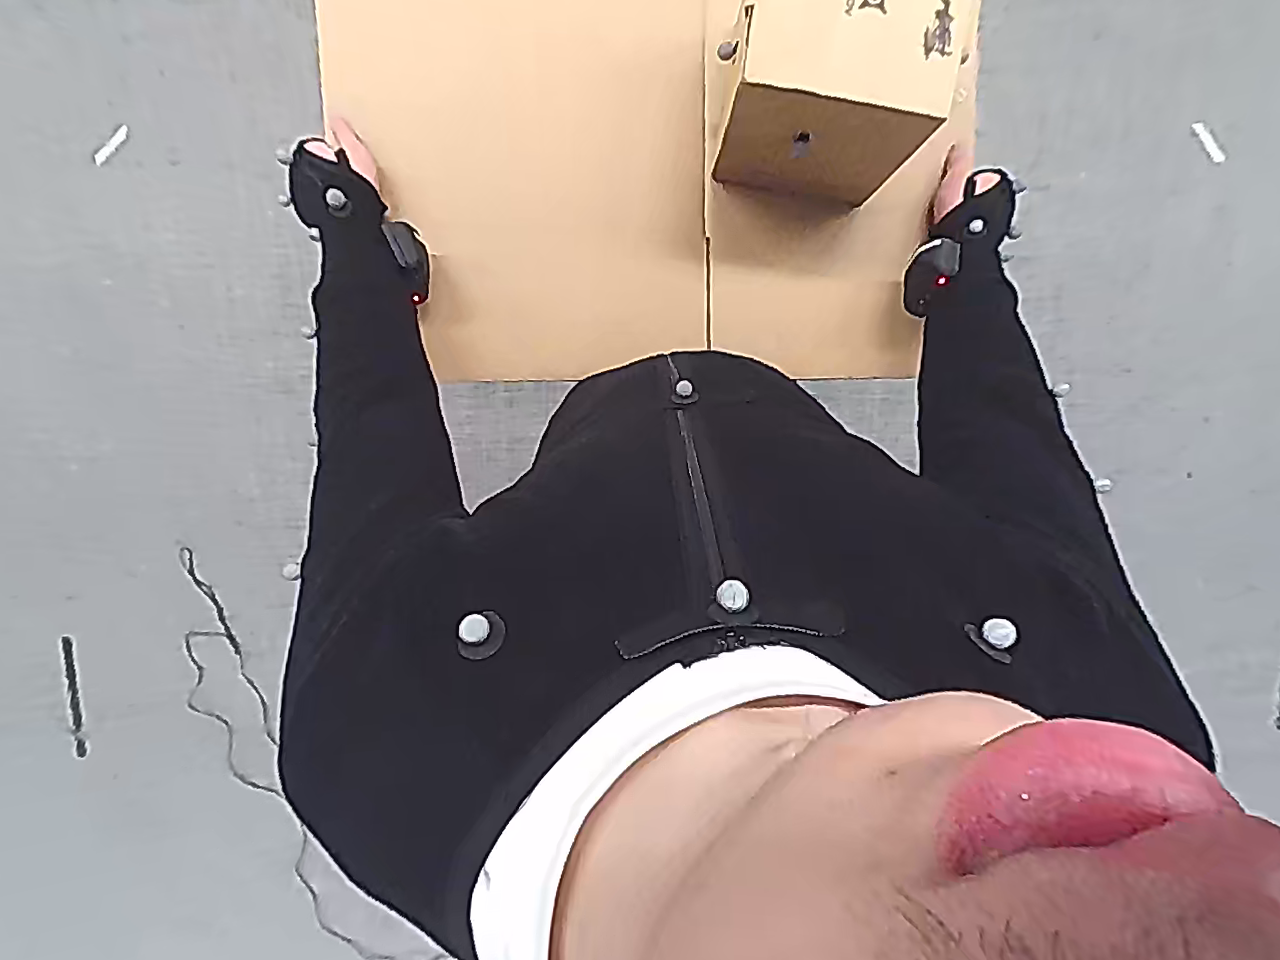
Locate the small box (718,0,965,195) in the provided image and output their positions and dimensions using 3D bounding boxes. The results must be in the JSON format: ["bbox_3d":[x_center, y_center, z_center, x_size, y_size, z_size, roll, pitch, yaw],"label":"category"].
[{"bbox_3d":[0.179,-0.401,0.520,0.179,0.176,0.168,9,95,0],"label":"small box"}]
